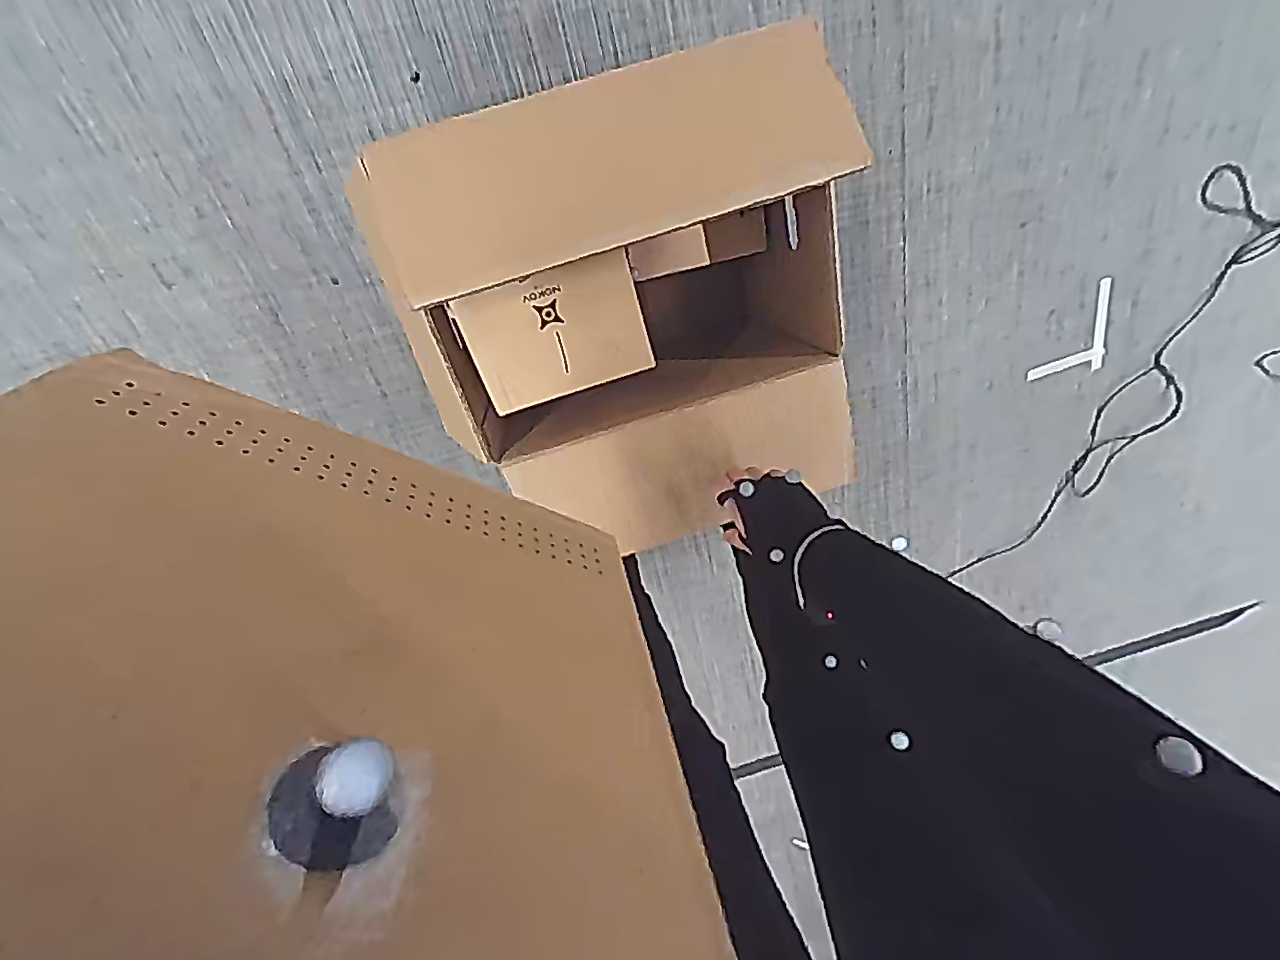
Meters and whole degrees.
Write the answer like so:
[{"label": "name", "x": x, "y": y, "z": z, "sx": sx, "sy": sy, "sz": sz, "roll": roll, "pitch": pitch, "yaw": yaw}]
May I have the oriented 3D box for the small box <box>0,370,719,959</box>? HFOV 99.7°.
[{"label": "small box", "x": -0.102, "y": 0.094, "z": 0.147, "sx": 0.179, "sy": 0.176, "sz": 0.168, "roll": 24, "pitch": 111, "yaw": -26}]
